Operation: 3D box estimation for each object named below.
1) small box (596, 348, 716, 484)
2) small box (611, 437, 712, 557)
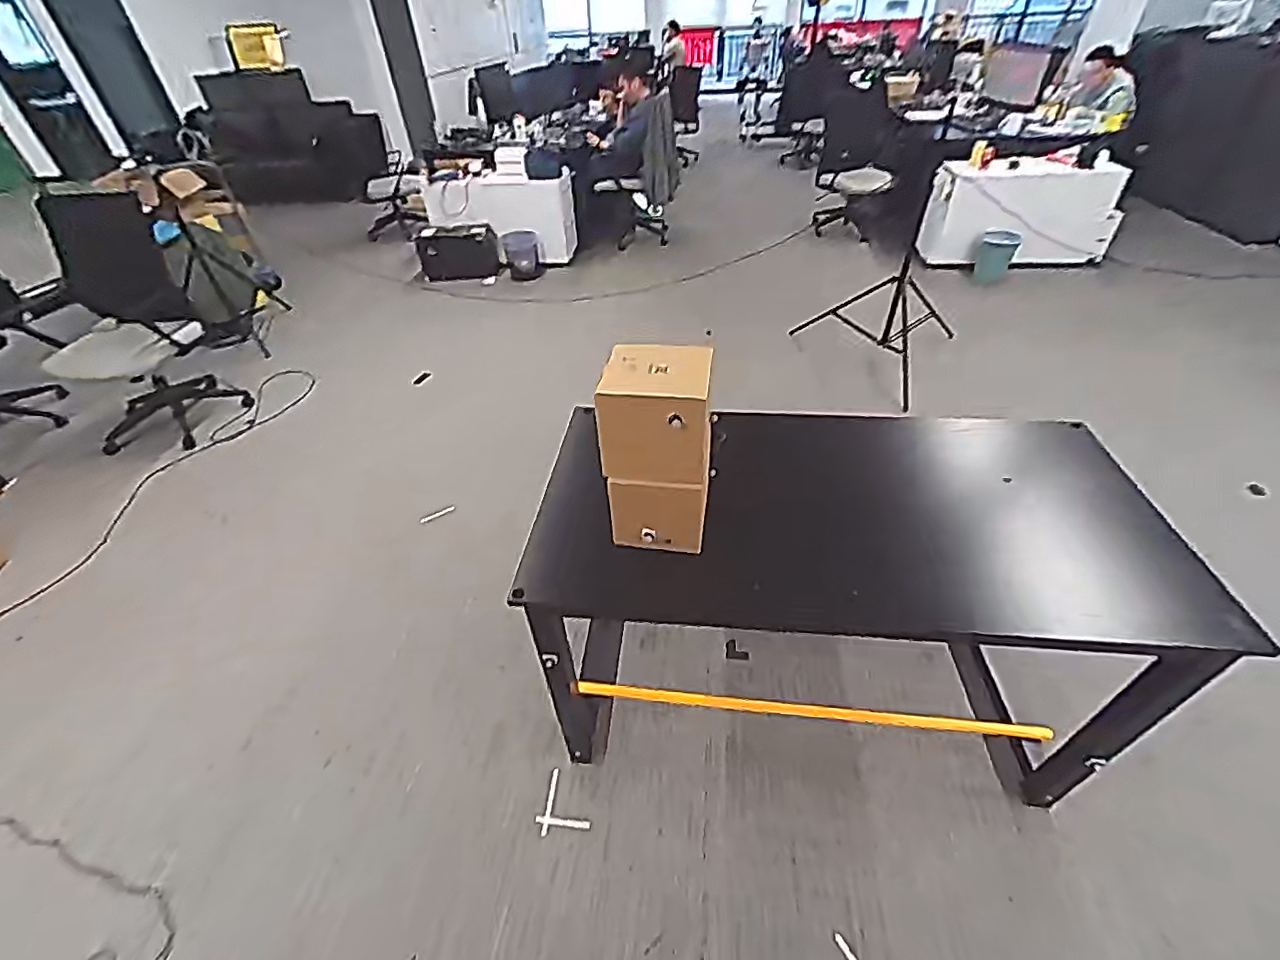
[{"bbox_3d":[0.034,-0.108,0.925,0.179,0.176,0.168,4,41,9],"label":"small box"},{"bbox_3d":[0.046,0.021,1.028,0.168,0.176,0.179,3,42,9],"label":"small box"}]
